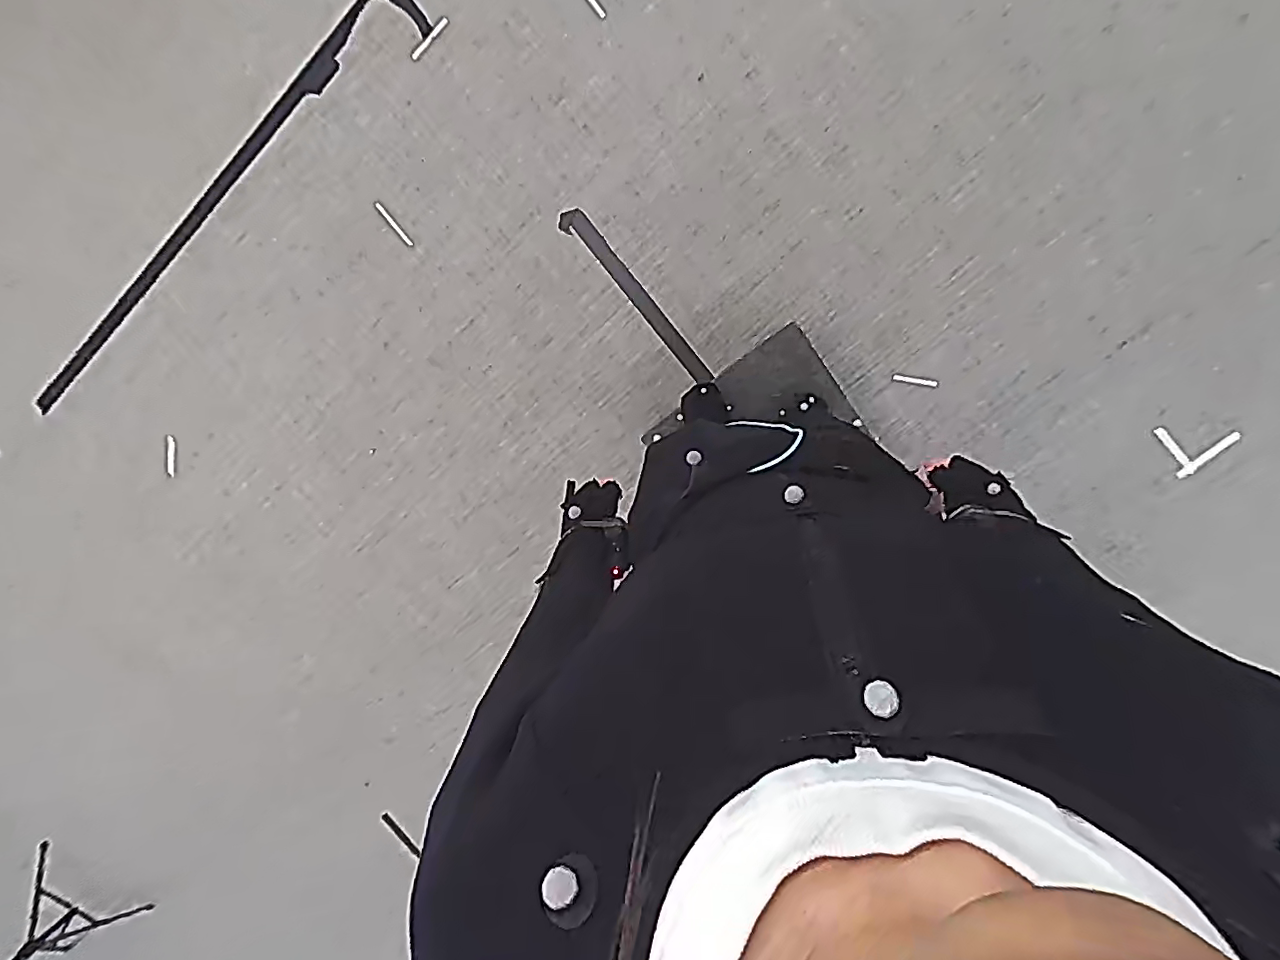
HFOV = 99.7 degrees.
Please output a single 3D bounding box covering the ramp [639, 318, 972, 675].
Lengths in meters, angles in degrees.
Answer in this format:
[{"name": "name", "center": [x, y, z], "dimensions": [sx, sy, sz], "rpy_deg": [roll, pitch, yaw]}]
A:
[{"name": "ramp", "center": [0.489, 0.100, 1.510], "dimensions": [0.509, 0.206, 0.991], "rpy_deg": [-39, 95, 10]}]
